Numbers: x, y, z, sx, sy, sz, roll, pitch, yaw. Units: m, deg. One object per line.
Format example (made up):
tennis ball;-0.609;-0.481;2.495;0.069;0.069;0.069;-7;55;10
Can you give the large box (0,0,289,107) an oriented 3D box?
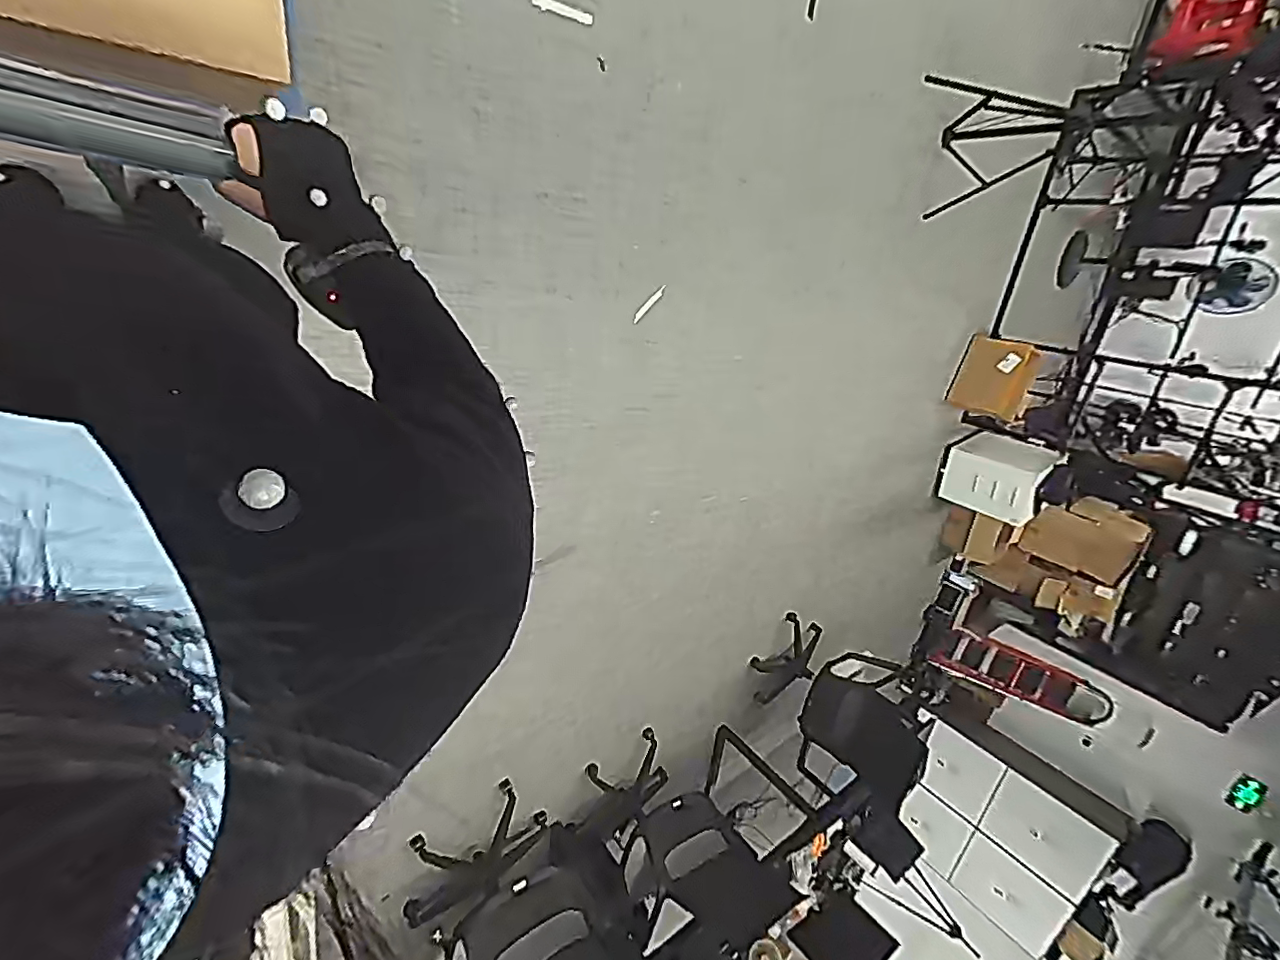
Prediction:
large box;-0.722;-0.710;0.677;0.408;0.320;0.320;-12;120;-38
